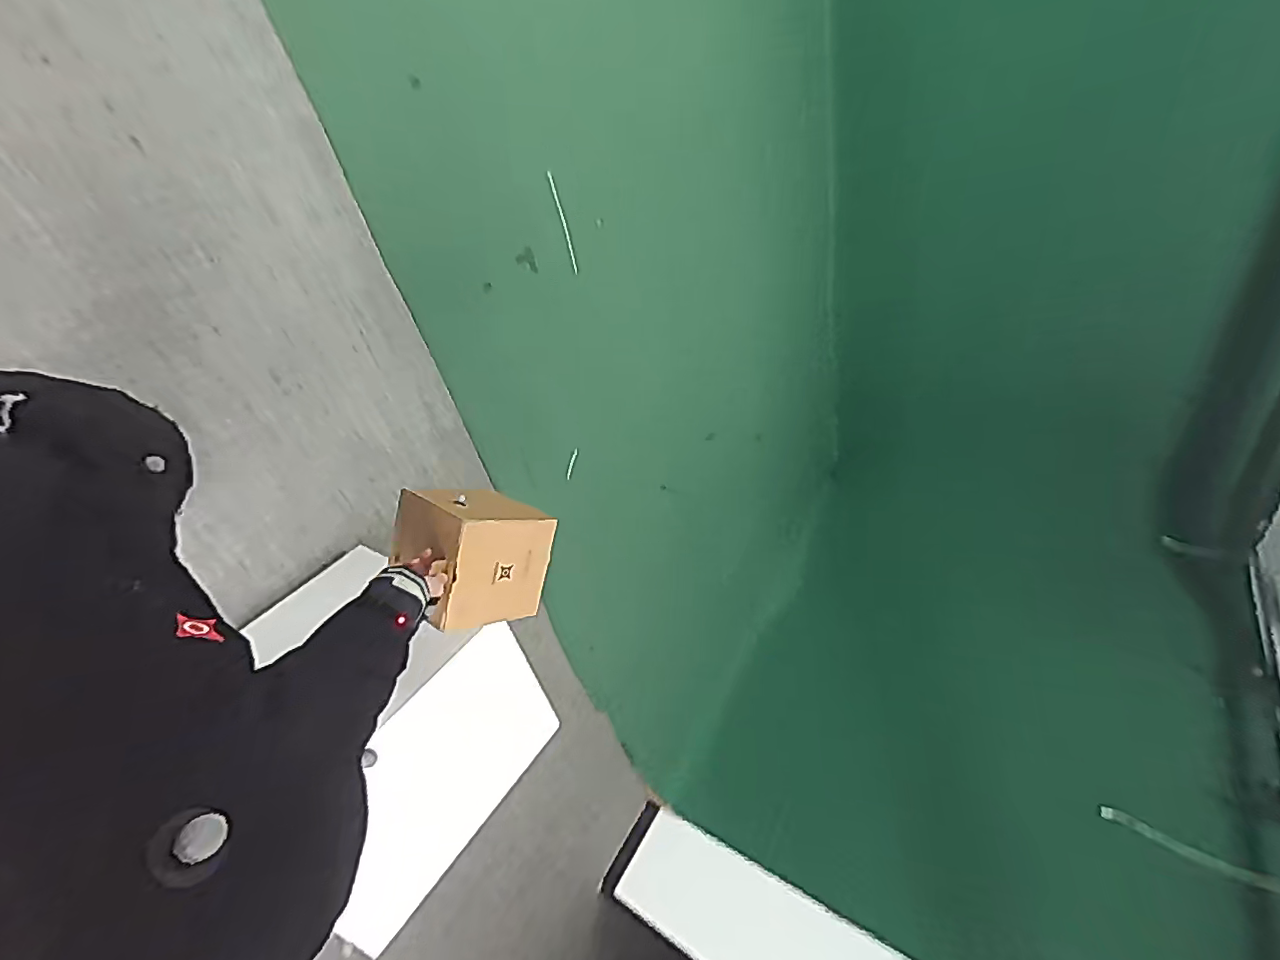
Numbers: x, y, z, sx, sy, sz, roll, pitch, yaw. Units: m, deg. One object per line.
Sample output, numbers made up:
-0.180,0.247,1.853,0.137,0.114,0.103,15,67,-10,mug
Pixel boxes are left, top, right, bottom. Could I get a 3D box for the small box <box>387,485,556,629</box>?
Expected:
-0.263,0.109,0.839,0.179,0.176,0.168,2,103,-55,small box
